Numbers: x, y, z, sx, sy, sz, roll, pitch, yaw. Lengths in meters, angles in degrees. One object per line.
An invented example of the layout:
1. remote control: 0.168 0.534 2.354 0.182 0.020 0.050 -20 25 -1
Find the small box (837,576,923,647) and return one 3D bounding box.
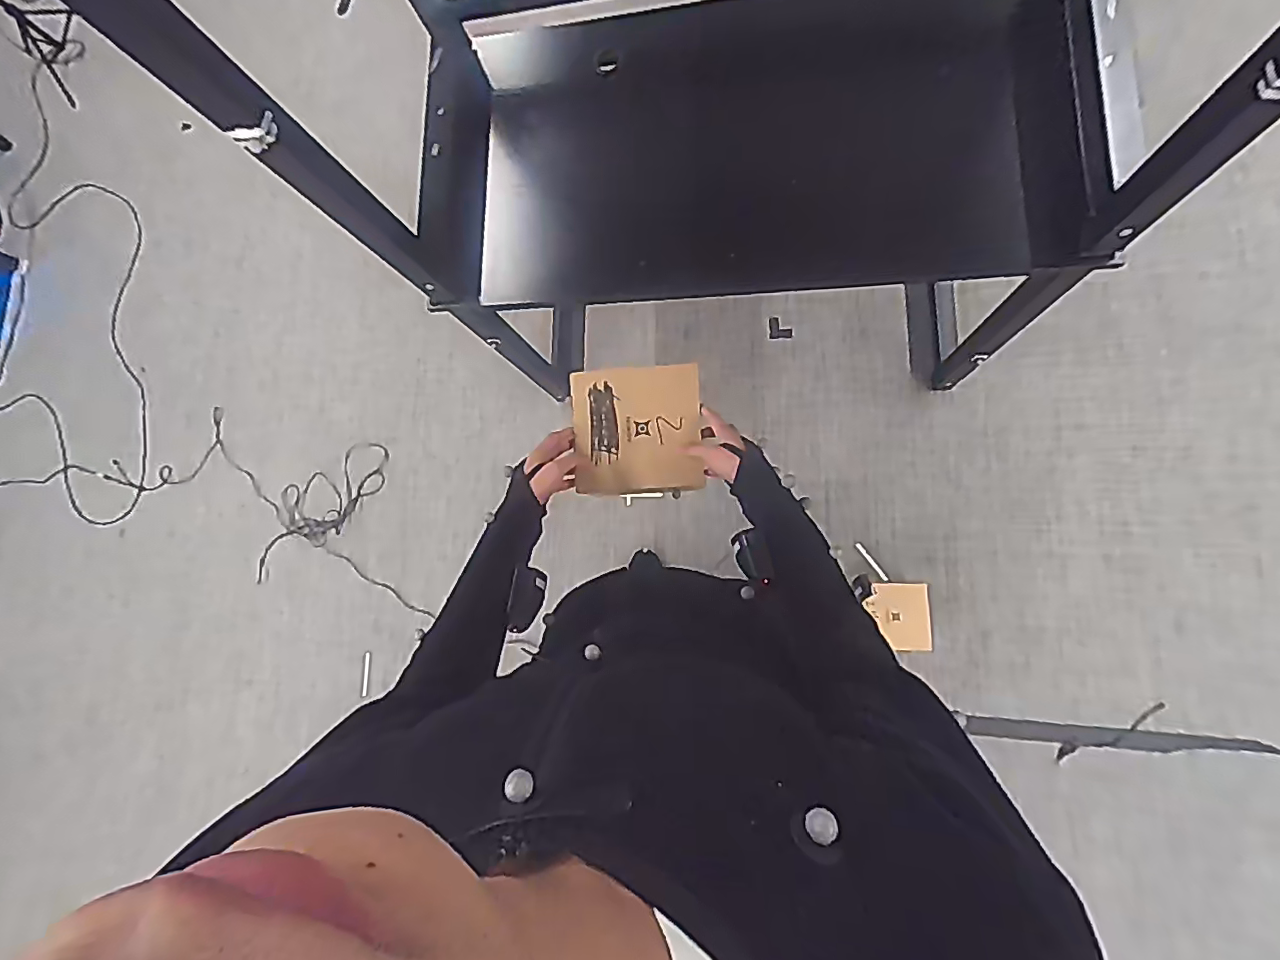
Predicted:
1. small box: 0.633 0.345 1.442 0.179 0.176 0.168 -1 82 11
